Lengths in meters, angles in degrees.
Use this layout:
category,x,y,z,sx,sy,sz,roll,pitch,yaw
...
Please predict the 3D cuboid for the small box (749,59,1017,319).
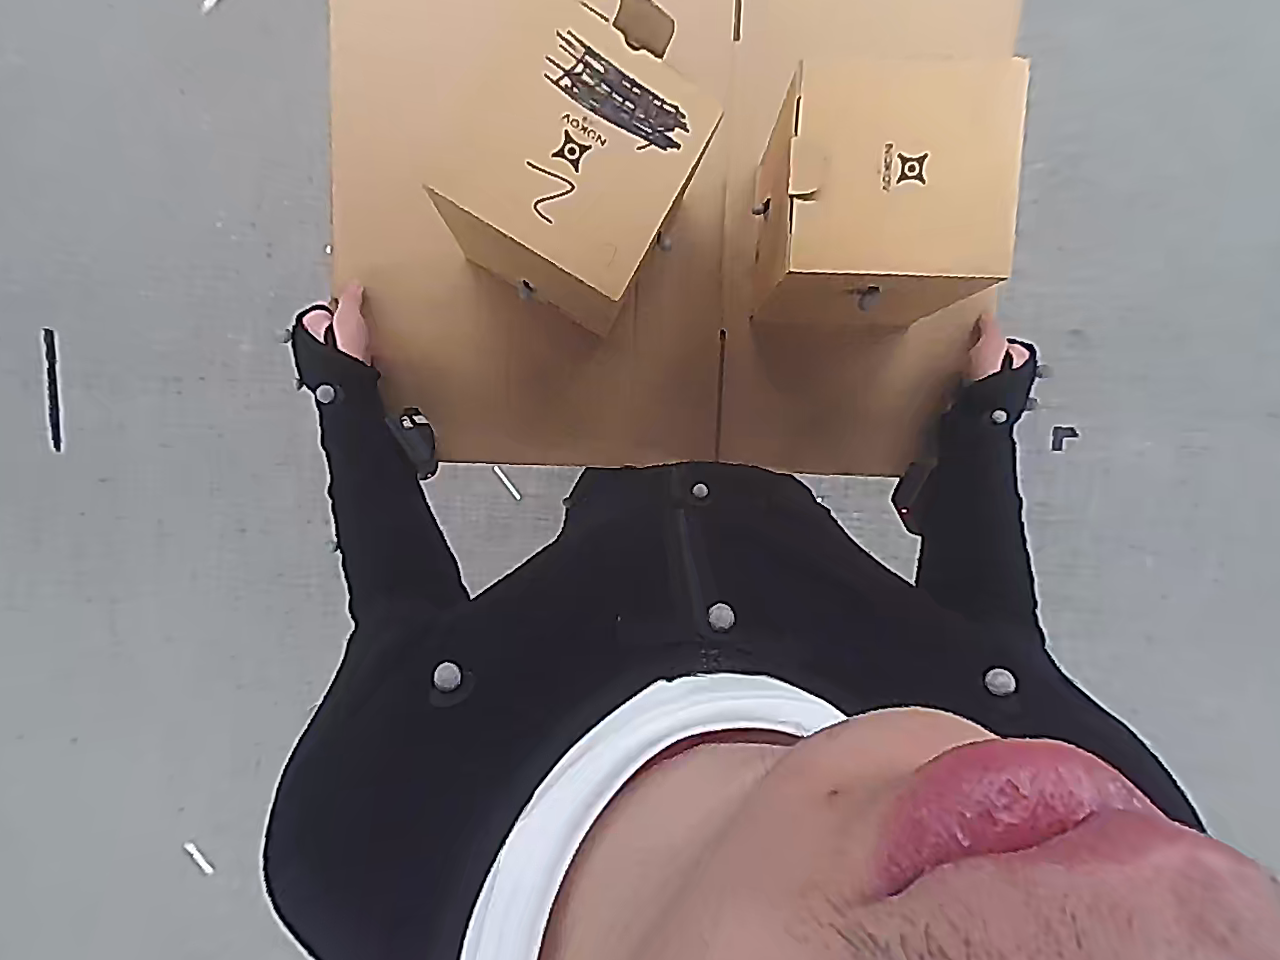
category,x,y,z,sx,sy,sz,roll,pitch,yaw
small box,0.210,-0.255,0.513,0.179,0.176,0.168,2,94,2
